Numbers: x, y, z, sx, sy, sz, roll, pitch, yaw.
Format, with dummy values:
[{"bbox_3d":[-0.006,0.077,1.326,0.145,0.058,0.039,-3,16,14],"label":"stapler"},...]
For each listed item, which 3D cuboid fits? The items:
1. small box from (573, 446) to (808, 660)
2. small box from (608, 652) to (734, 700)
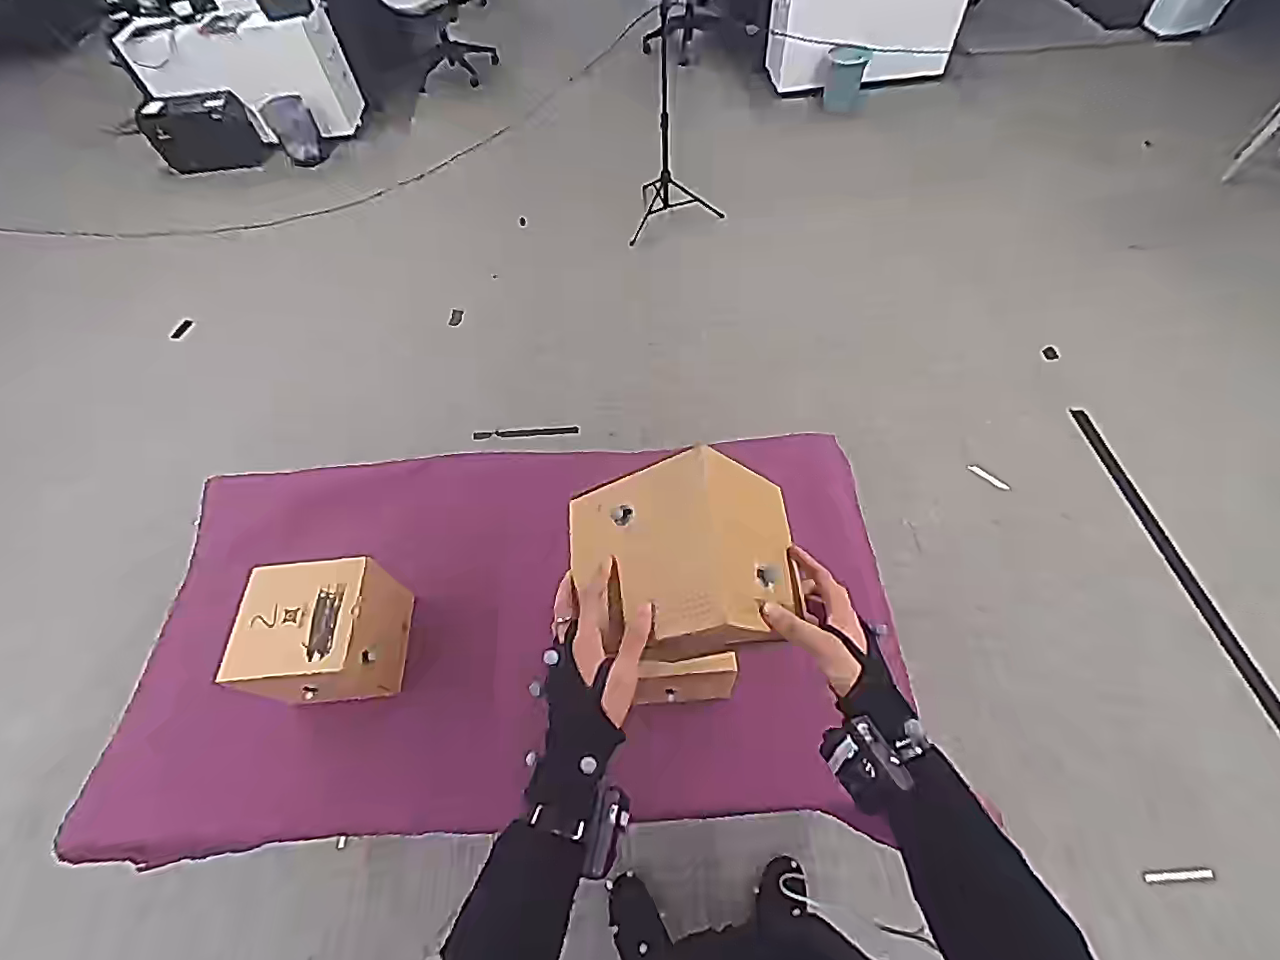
[{"bbox_3d":[0.048,0.092,0.563,0.179,0.168,0.176,-24,60,35],"label":"small box"},{"bbox_3d":[0.042,0.220,0.799,0.168,0.176,0.179,-4,57,1],"label":"small box"}]
